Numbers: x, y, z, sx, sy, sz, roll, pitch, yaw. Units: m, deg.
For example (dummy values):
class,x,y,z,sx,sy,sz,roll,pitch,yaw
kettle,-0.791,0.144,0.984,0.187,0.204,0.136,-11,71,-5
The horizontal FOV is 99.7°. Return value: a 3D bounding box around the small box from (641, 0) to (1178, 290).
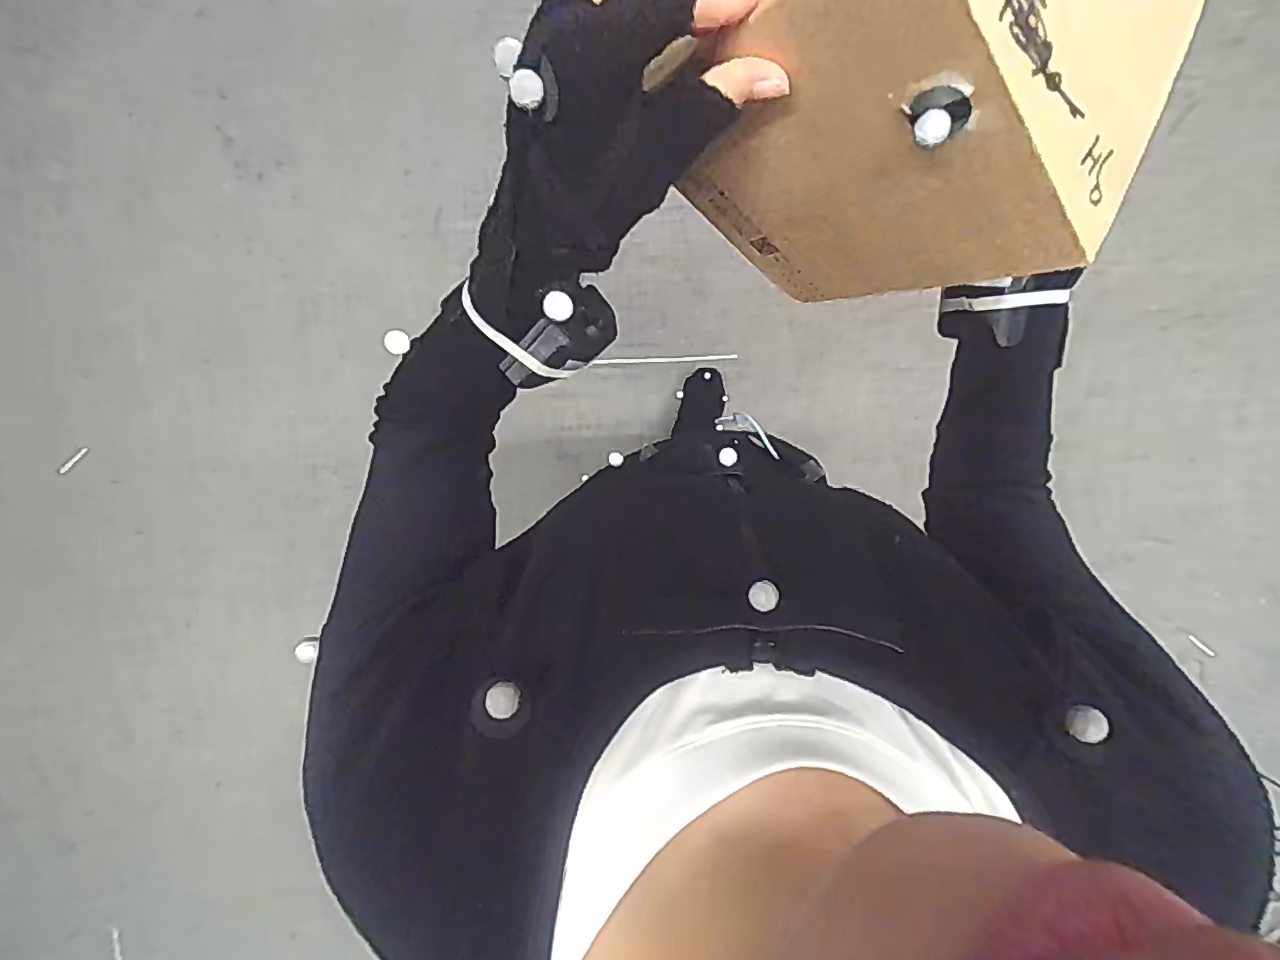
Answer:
class,x,y,z,sx,sy,sz,roll,pitch,yaw
small box,0.128,-0.225,0.274,0.168,0.176,0.179,29,83,-32
